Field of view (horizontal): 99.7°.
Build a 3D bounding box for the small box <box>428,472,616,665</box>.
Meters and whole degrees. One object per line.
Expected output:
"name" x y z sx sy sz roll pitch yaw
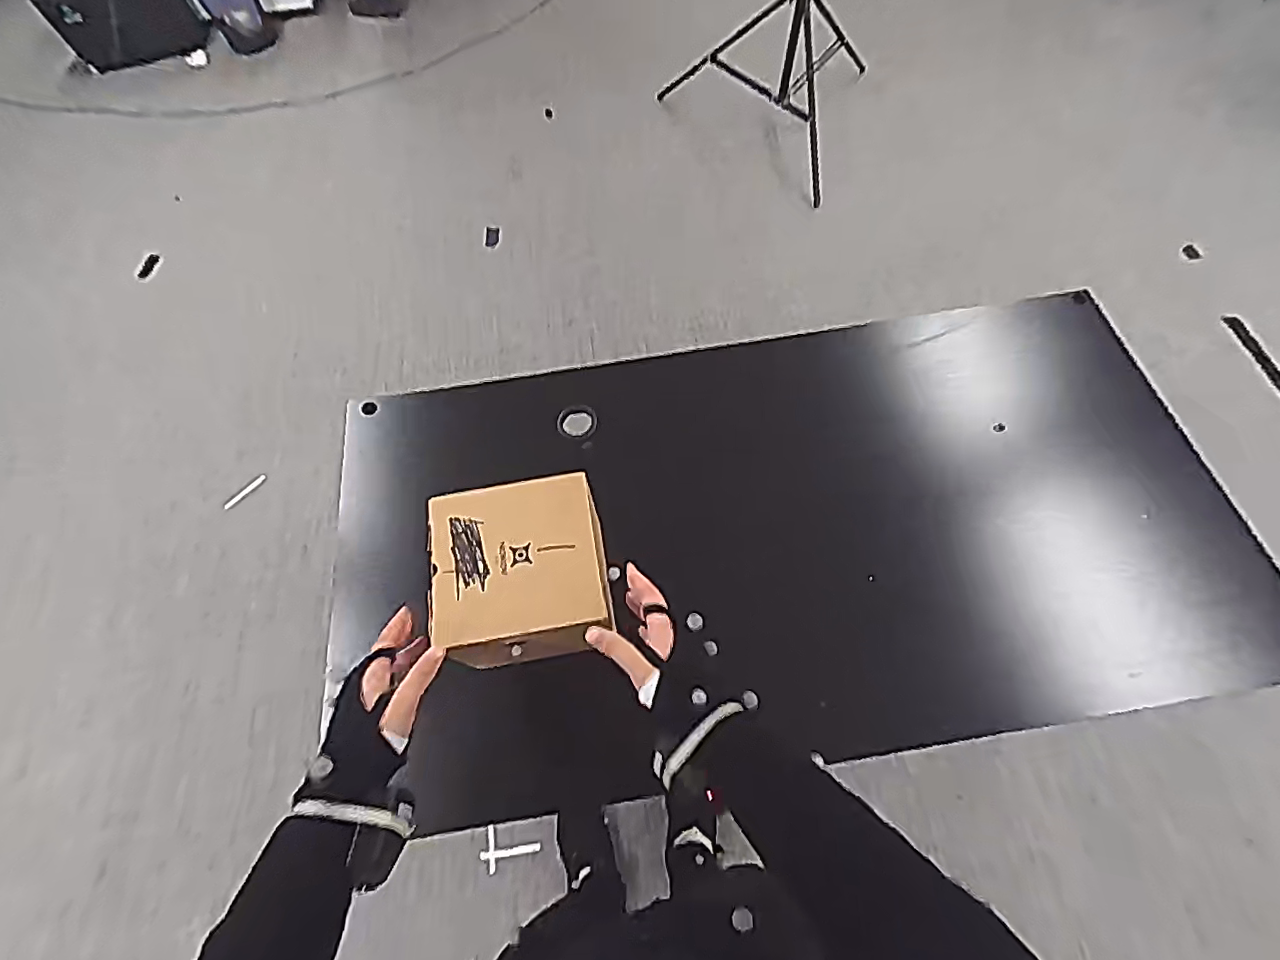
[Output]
"small box" -0.129 0.111 0.630 0.179 0.176 0.168 -10 65 -3
